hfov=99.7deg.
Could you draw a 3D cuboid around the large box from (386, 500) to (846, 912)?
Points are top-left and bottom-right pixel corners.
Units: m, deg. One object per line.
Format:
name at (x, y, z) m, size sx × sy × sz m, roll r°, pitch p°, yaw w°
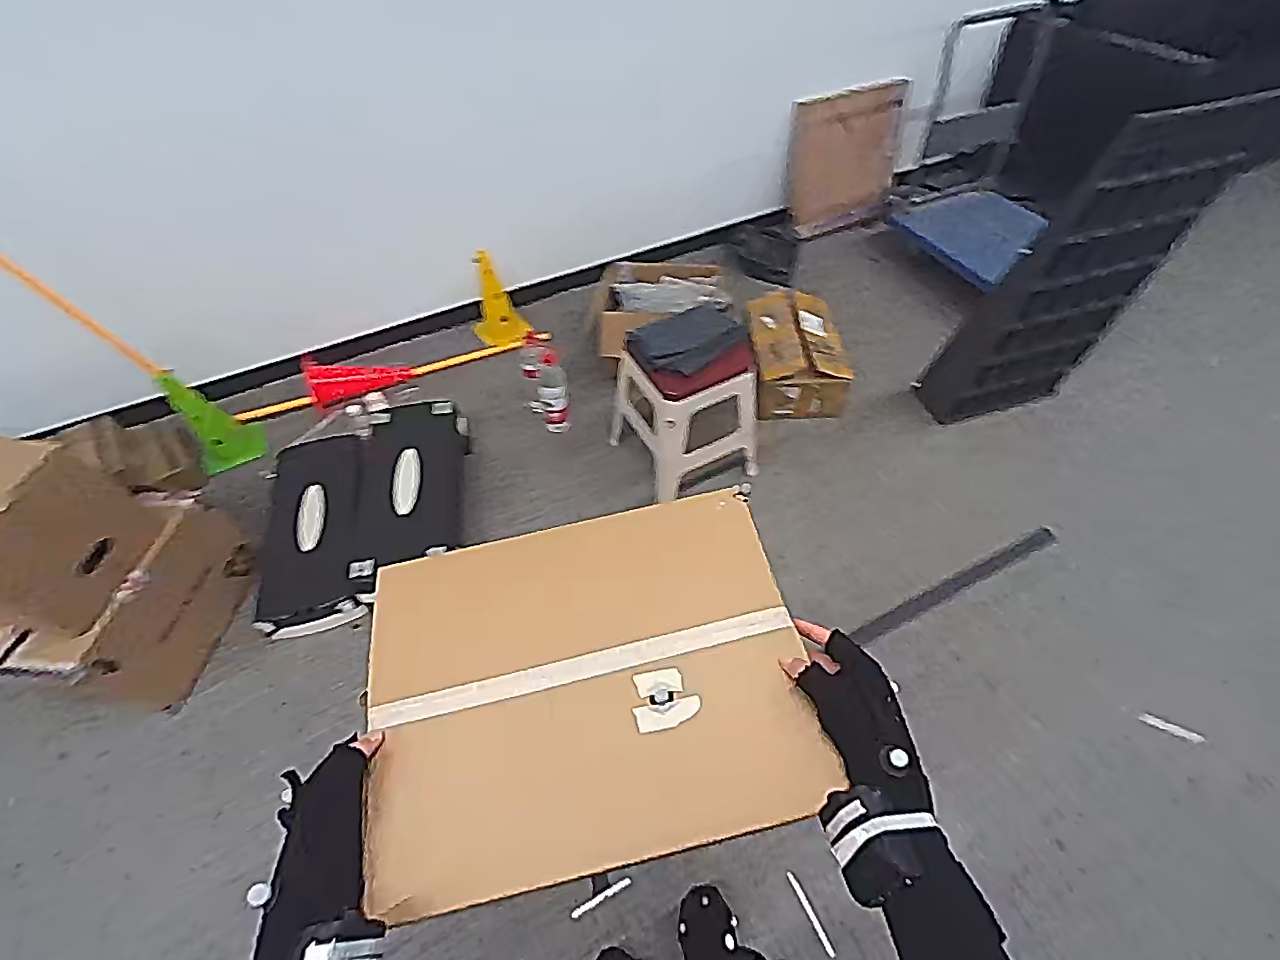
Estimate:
large box at (-0.036, 0.270, 0.655) m, size 0.408 × 0.320 × 0.320 m, roll -12°, pitch 57°, yaw -3°
